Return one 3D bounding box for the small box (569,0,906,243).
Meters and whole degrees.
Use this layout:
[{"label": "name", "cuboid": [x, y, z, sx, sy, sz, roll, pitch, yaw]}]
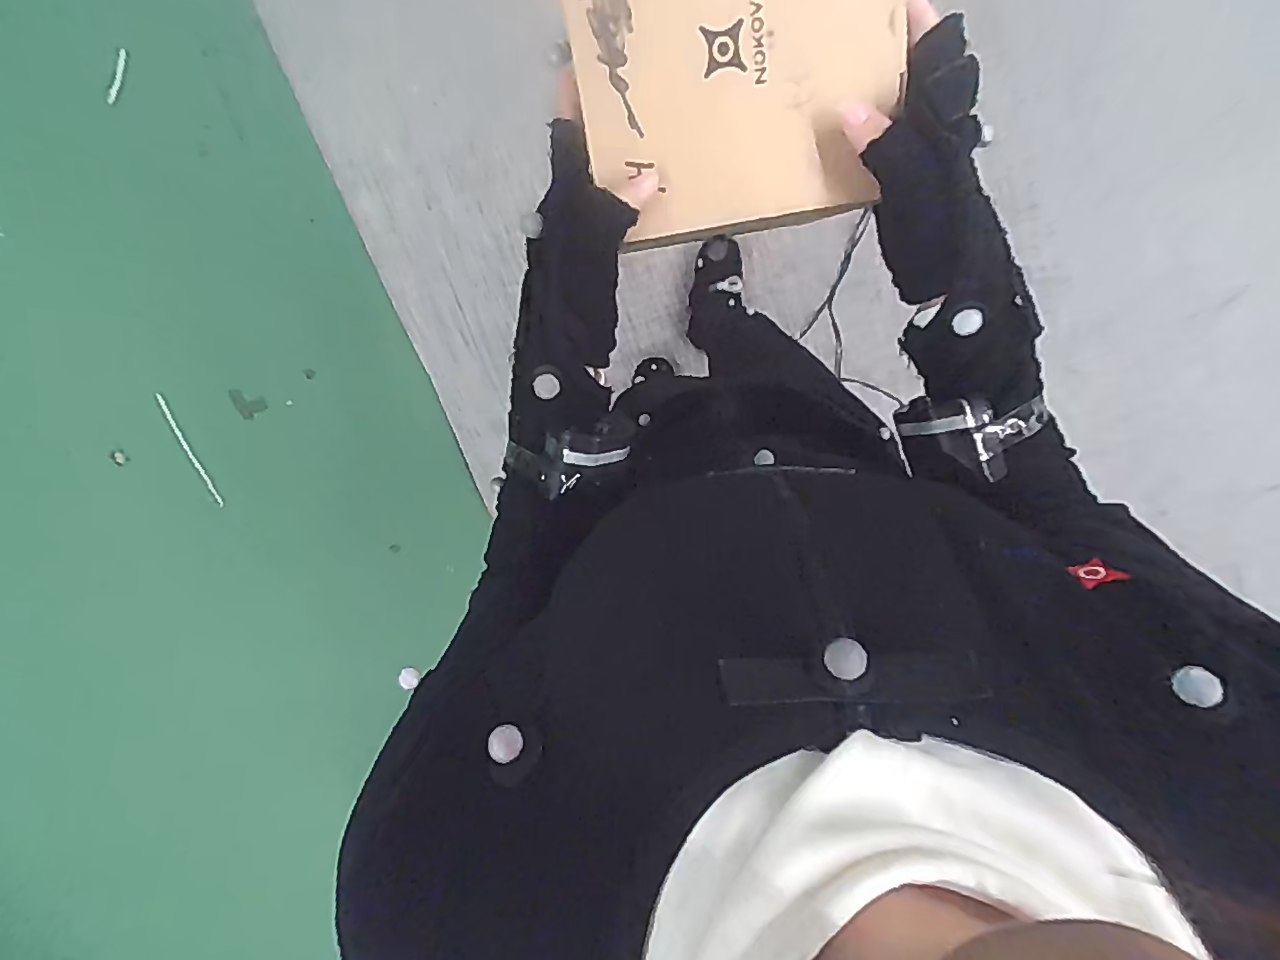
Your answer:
[{"label": "small box", "cuboid": [0.049, -0.260, 0.357, 0.179, 0.176, 0.168, -9, 110, 0]}]
